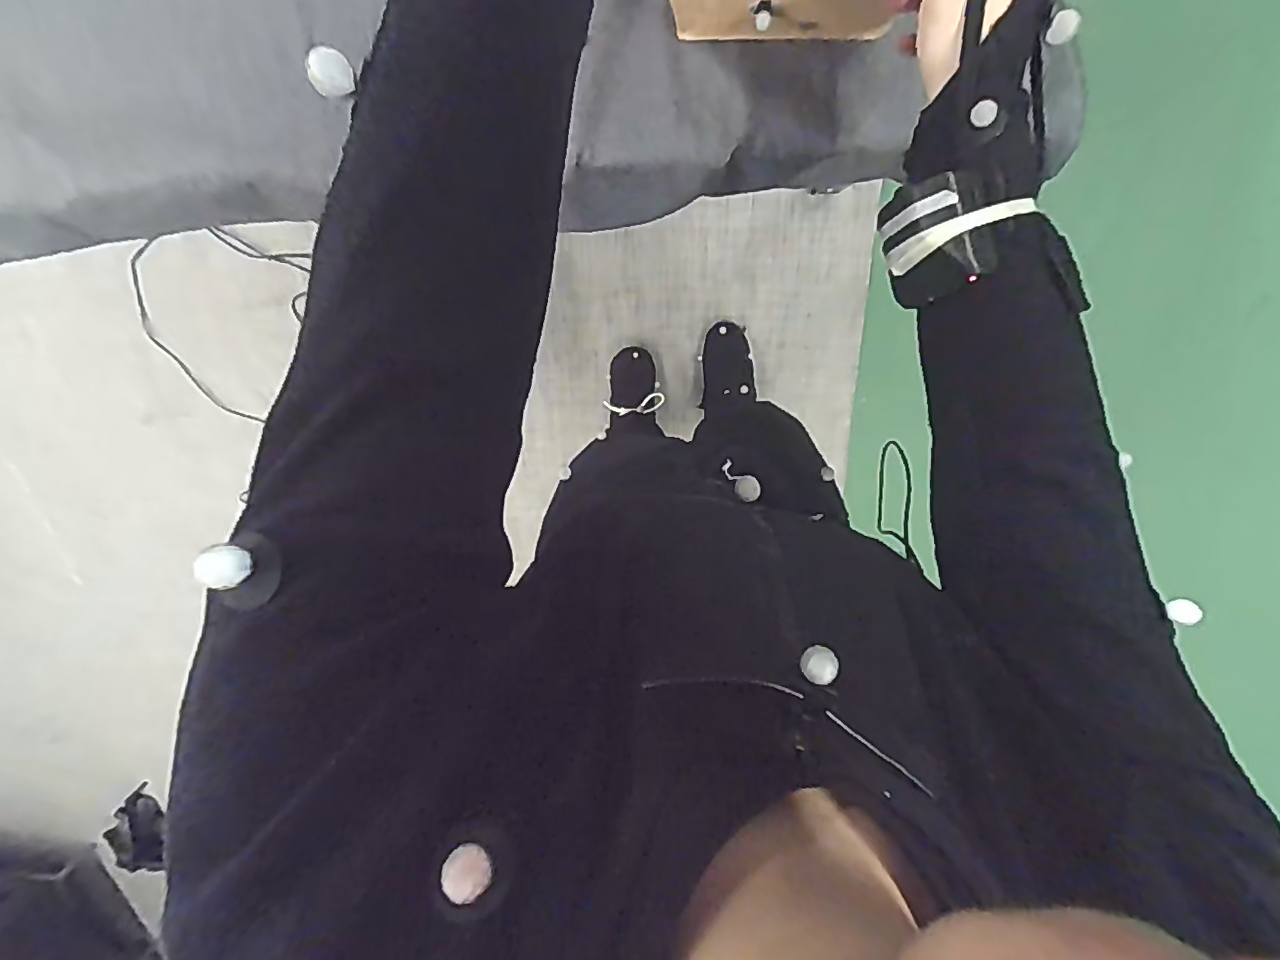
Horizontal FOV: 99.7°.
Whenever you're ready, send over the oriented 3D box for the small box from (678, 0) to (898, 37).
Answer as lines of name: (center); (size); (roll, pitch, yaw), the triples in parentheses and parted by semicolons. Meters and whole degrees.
small box: (0.102, -0.409, 0.329); (0.168, 0.176, 0.179); (5, 114, 7)
